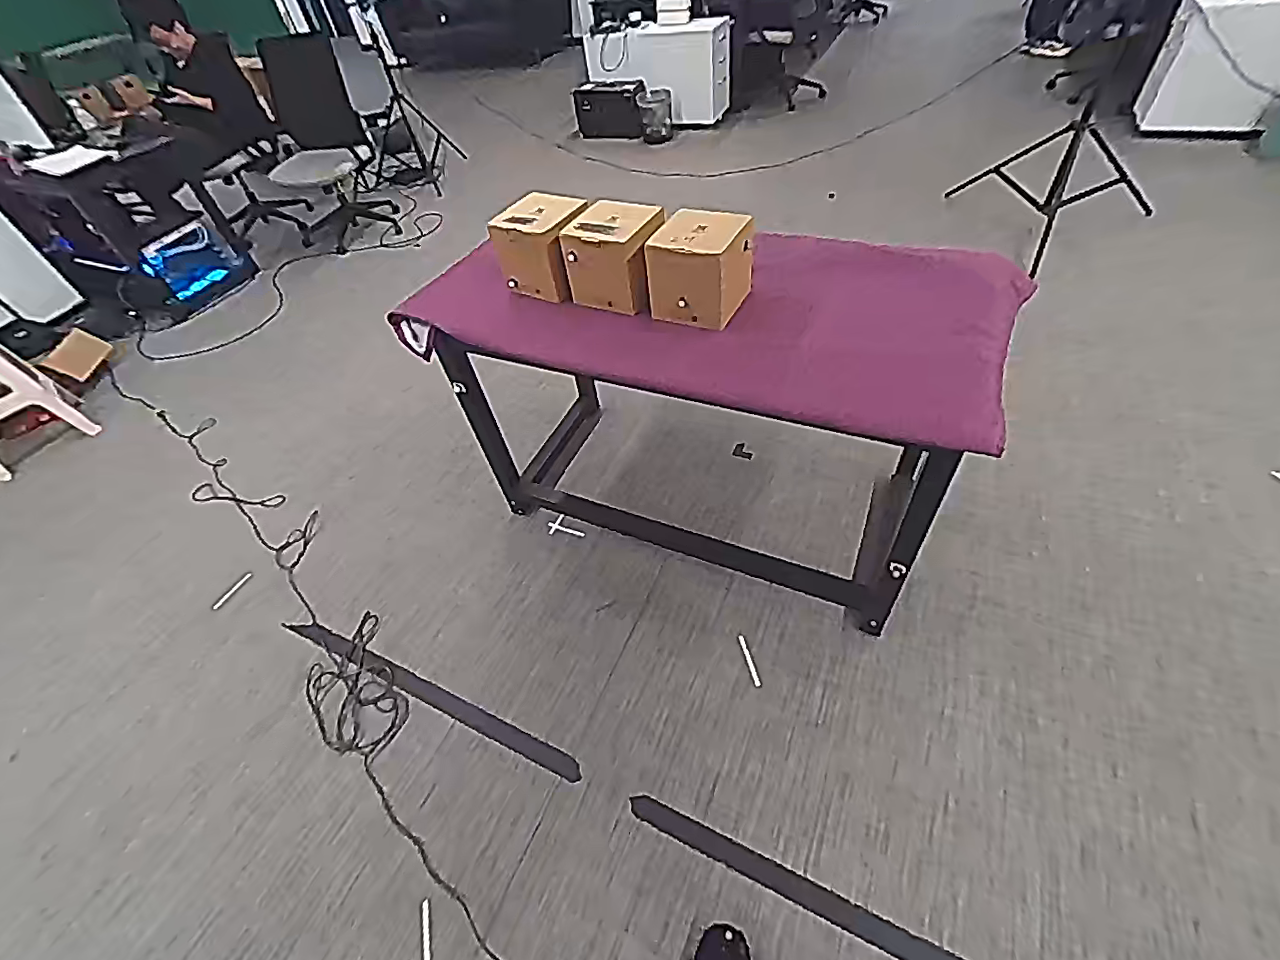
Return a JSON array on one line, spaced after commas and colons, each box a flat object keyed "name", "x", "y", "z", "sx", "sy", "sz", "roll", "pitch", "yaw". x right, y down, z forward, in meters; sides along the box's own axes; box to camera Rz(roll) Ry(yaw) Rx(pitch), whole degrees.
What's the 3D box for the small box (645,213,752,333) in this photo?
[{"name": "small box", "x": 0.126, "y": -0.440, "z": 1.146, "sx": 0.168, "sy": 0.176, "sz": 0.179, "roll": 17, "pitch": 53, "yaw": 24}]
